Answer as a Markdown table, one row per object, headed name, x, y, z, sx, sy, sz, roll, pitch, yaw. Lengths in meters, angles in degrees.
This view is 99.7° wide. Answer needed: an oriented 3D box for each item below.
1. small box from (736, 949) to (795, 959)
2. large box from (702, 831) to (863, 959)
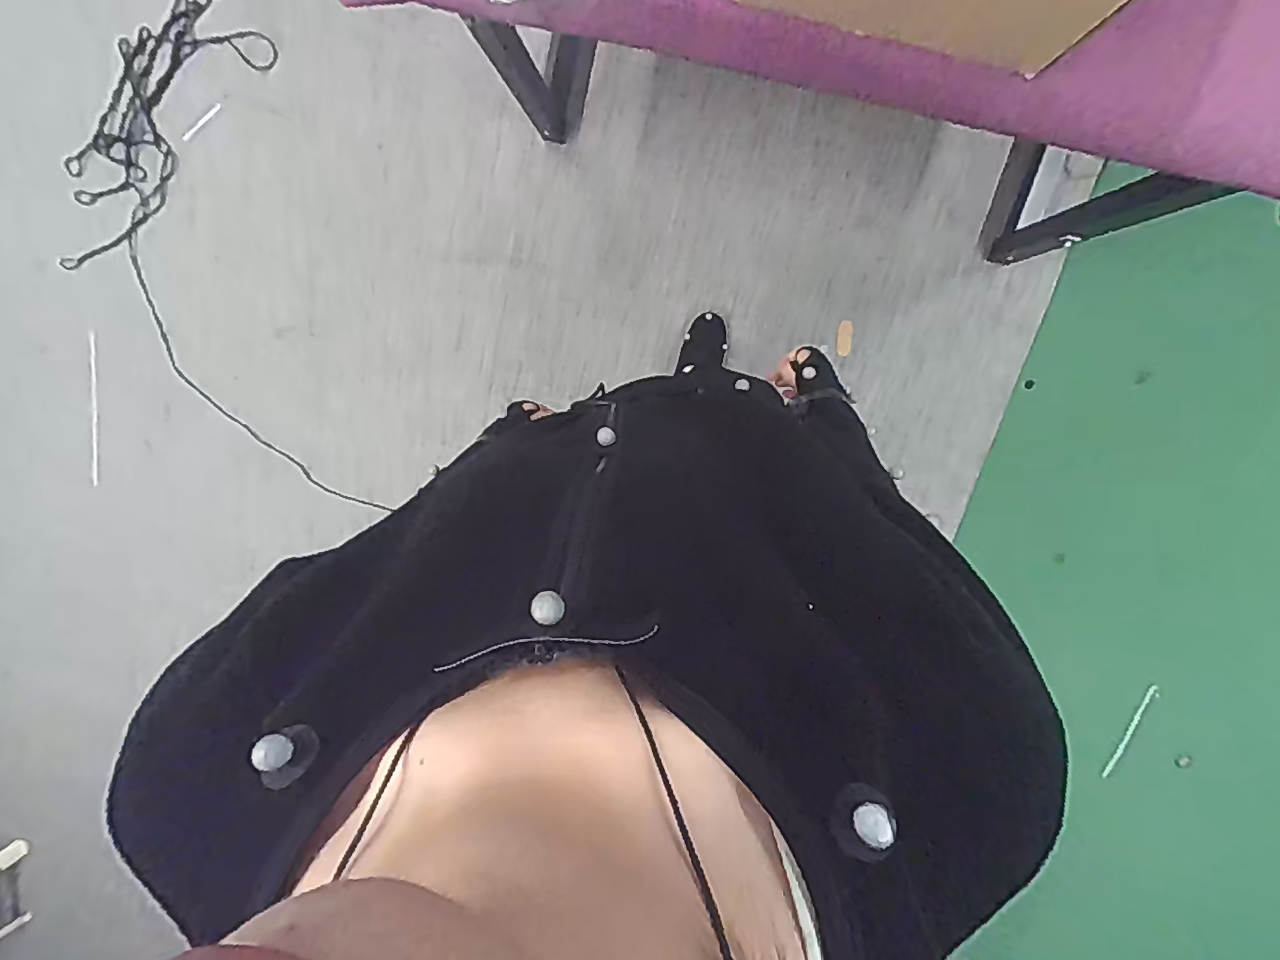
| name | x | y | z | sx | sy | sz | roll | pitch | yaw |
| --- | --- | --- | --- | --- | --- | --- | --- | --- | --- |
| small box | 0.326 | 1.324 | 1.347 | 0.168 | 0.176 | 0.179 | 2 | 102 | 5 |
| large box | 0.391 | 1.288 | 1.584 | 0.408 | 0.320 | 0.320 | 0 | 103 | 4 |
